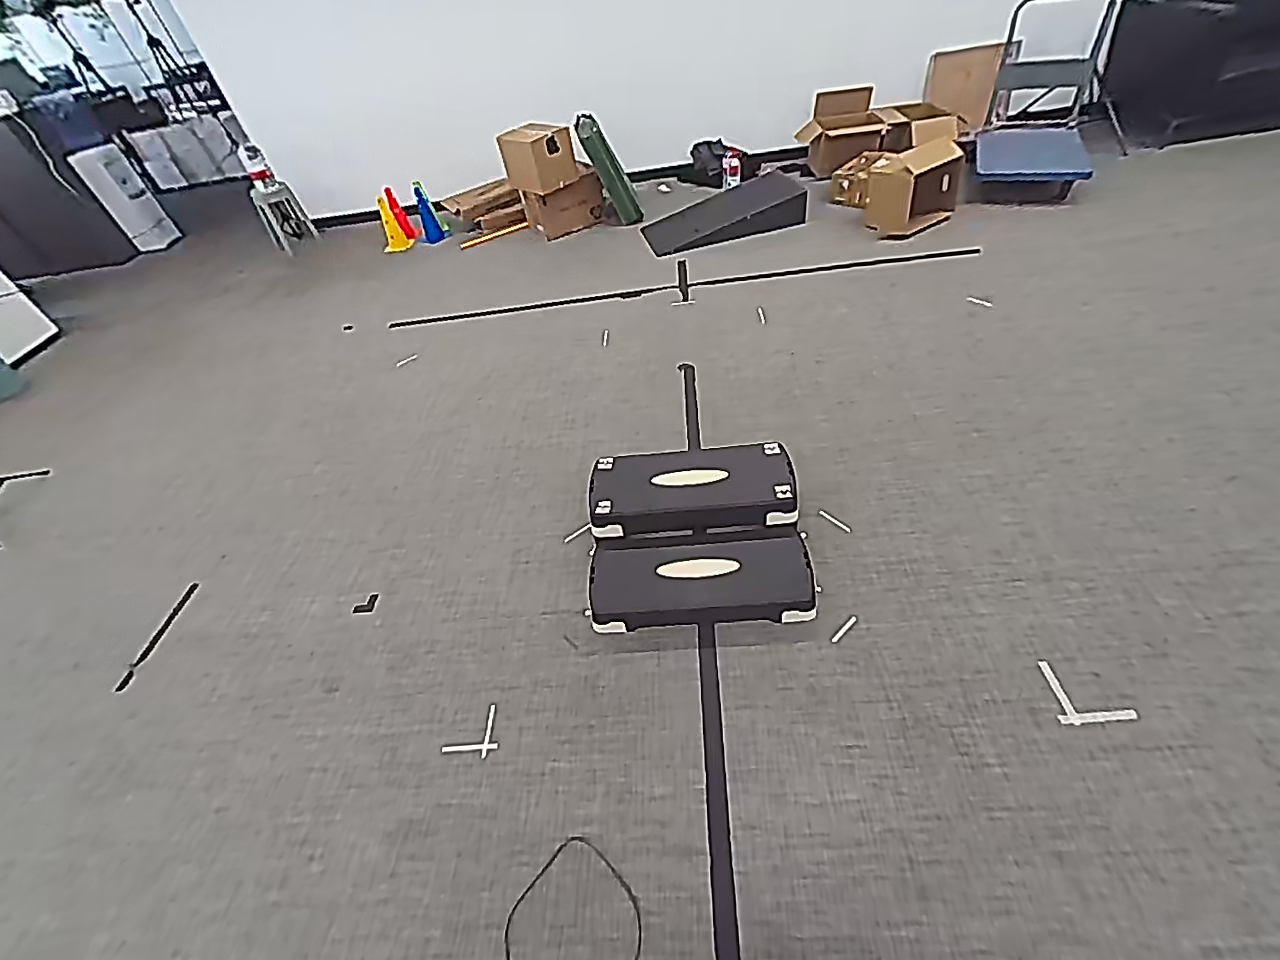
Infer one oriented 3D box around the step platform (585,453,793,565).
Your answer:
[{"bbox_3d":[0.156,0.092,1.809,0.684,0.204,0.286,-5,46,5],"label":"step platform"}]
